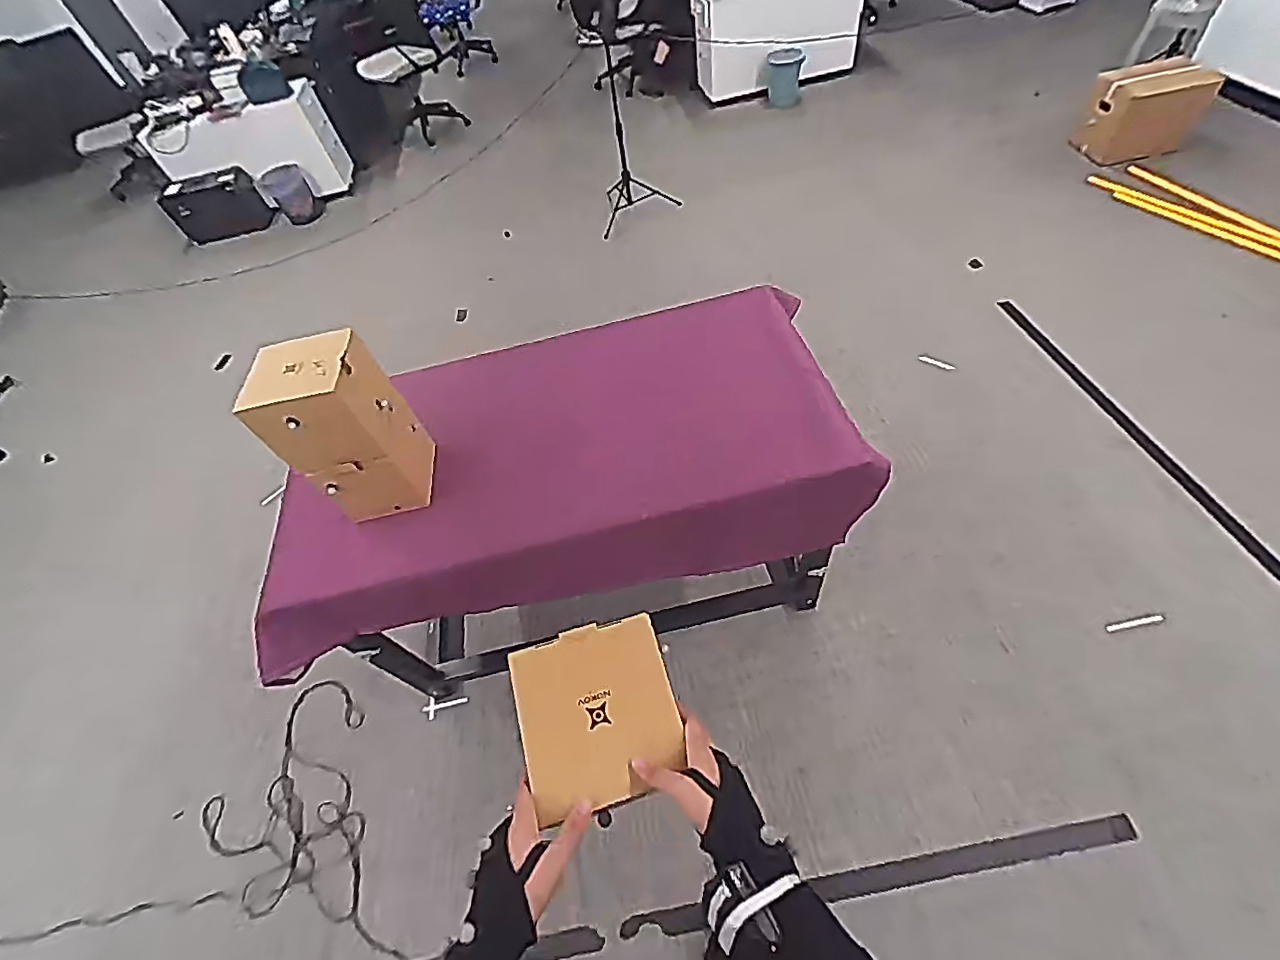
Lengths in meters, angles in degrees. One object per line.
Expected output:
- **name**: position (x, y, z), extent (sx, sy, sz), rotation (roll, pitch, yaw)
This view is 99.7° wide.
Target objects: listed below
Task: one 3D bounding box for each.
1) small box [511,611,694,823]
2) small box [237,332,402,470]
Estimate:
- **small box**: position (-0.043, 0.284, 0.644), extent (0.168, 0.176, 0.179), rotation (-14, 58, -9)
- **small box**: position (-0.566, -0.137, 0.981), extent (0.179, 0.176, 0.168), rotation (-10, 53, 1)
